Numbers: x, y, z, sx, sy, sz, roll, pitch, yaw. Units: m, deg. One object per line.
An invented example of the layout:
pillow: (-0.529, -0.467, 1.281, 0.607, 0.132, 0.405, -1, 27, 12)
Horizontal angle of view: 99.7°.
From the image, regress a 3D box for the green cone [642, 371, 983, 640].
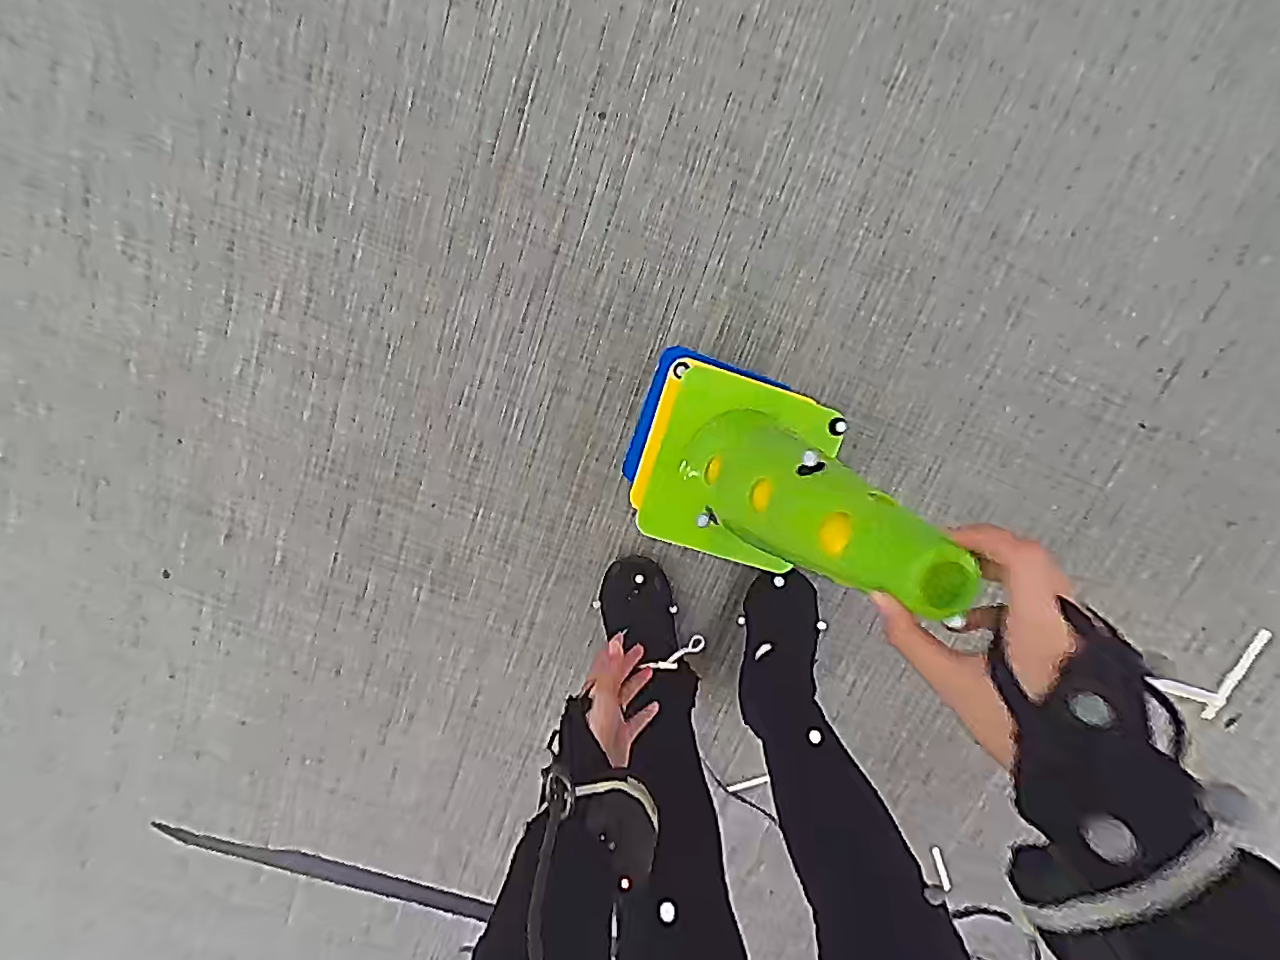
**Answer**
green cone: (0.133, 0.025, 0.440, 0.200, 0.368, 0.202, 16, 98, -7)
